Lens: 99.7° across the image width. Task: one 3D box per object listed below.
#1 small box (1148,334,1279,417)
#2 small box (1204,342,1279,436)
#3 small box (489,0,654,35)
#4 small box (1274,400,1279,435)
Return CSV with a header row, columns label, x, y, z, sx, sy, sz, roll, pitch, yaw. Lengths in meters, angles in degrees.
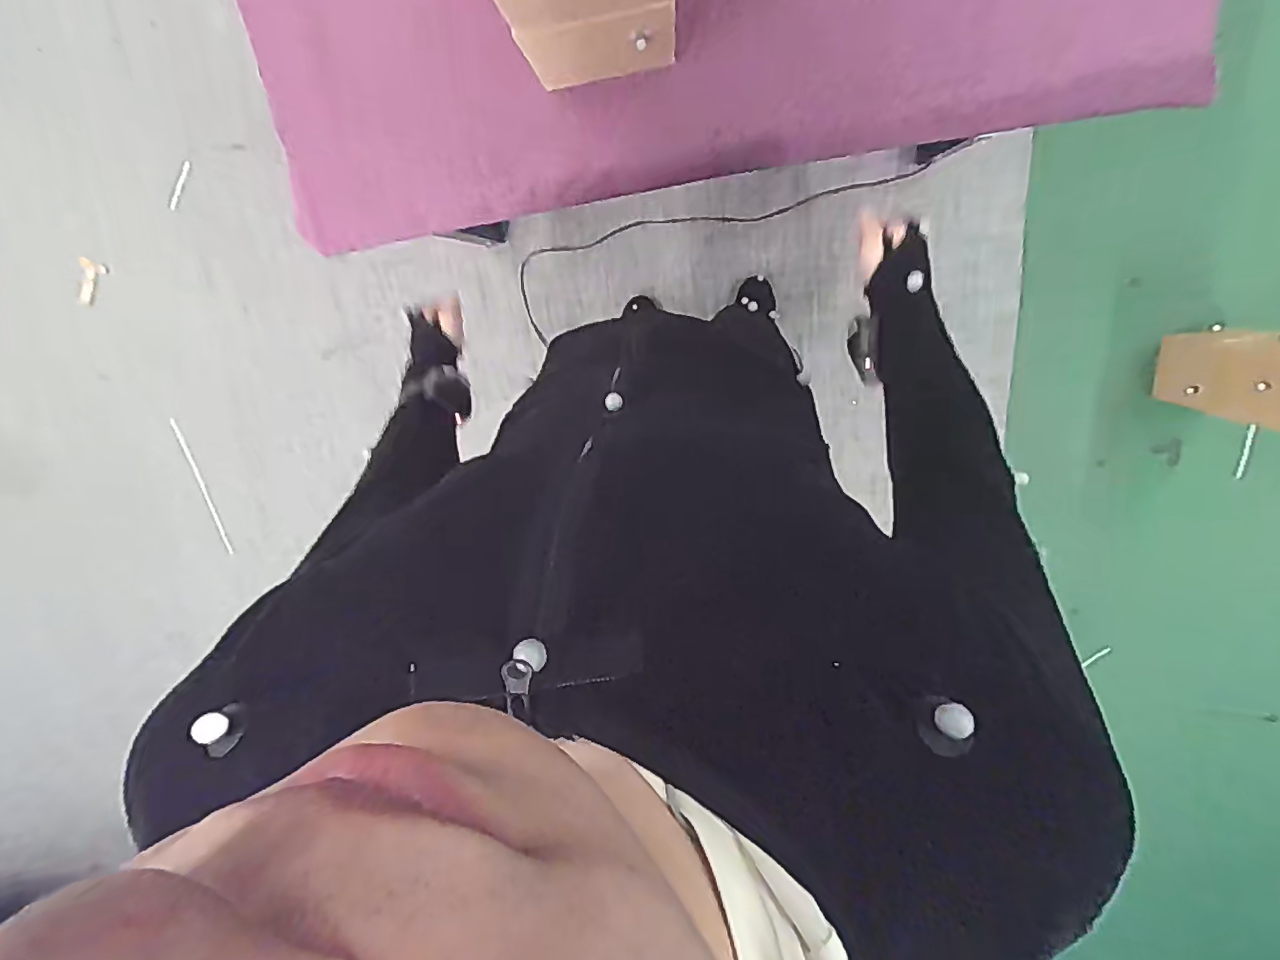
label,x,y,z,sx,sy,sz,roll,pitch,yaw
small box,1.471,-0.273,1.393,0.168,0.176,0.179,-6,108,6
small box,1.465,-0.214,1.242,0.168,0.176,0.179,-9,107,7
small box,-0.067,-0.526,0.462,0.179,0.176,0.168,-7,108,6
small box,1.456,-0.164,1.086,0.168,0.176,0.179,-10,109,8
